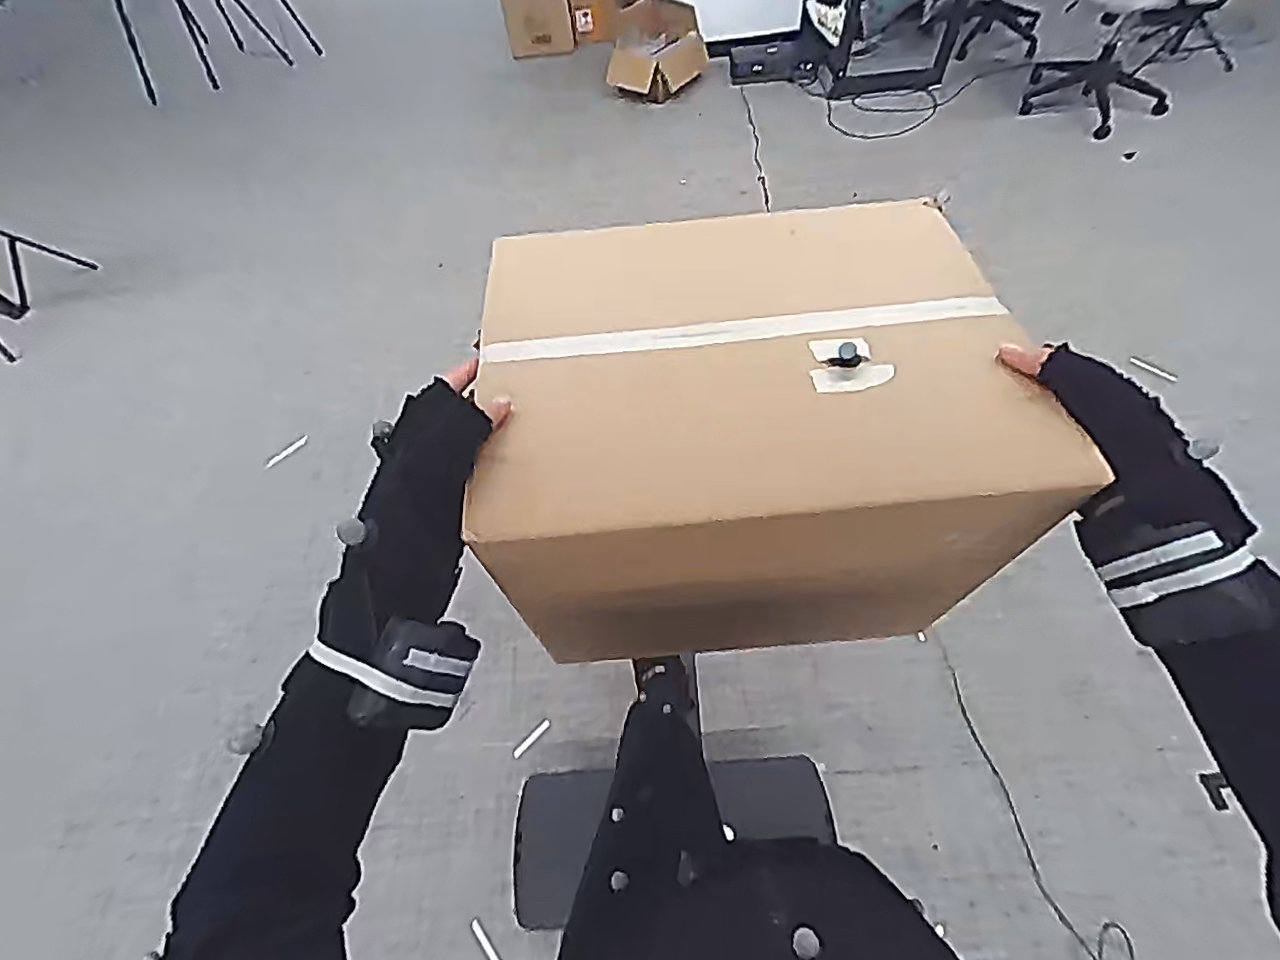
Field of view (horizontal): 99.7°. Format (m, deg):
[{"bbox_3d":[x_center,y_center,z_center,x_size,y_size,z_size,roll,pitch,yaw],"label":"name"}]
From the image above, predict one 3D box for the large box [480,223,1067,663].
[{"bbox_3d":[0.083,-0.022,0.563,0.408,0.320,0.320,-5,57,0],"label":"large box"}]
